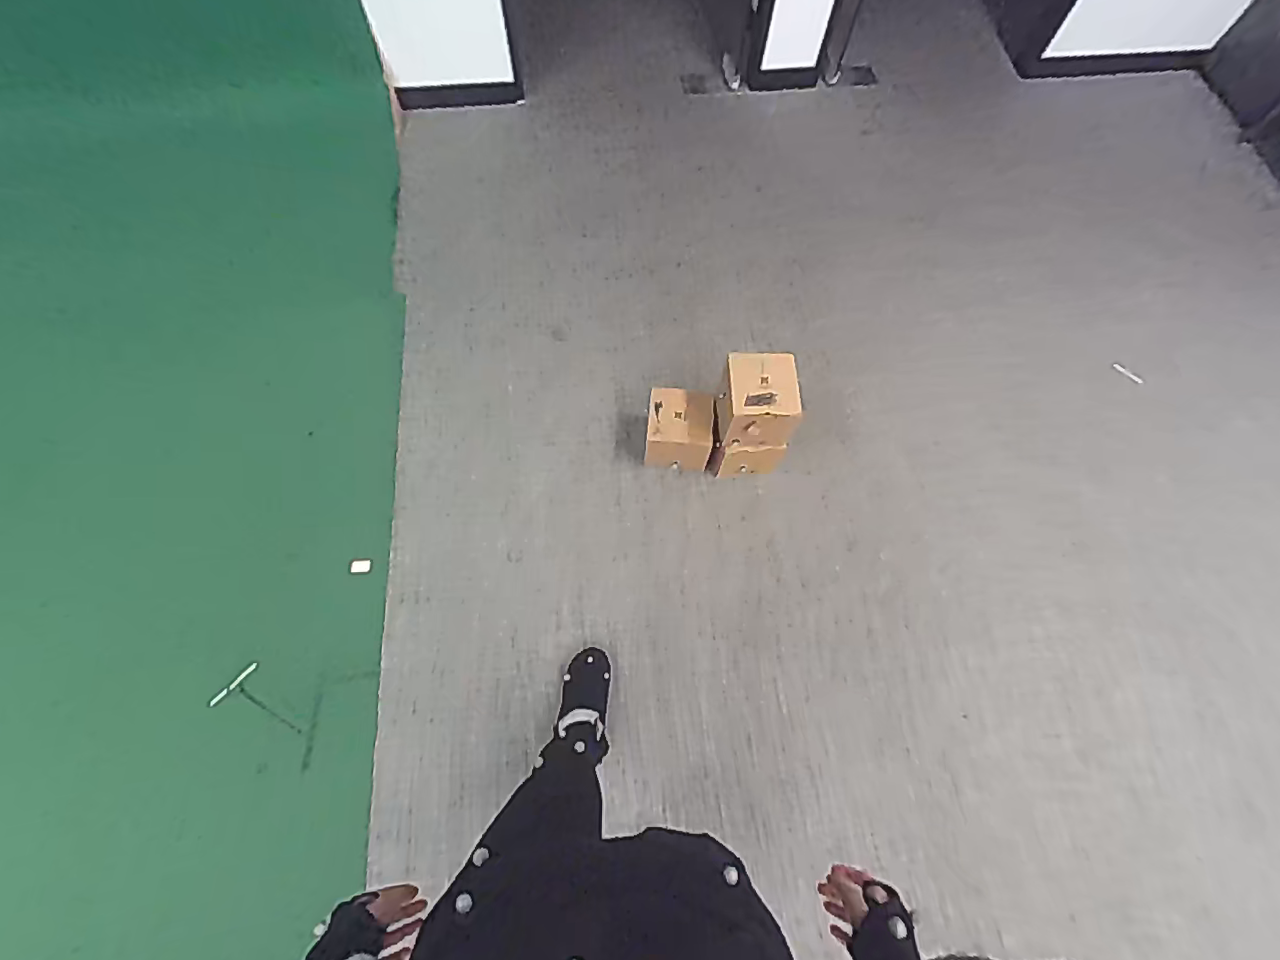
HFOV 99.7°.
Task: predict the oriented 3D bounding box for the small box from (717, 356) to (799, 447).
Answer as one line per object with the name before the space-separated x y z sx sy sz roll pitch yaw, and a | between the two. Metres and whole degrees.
small box | 0.291 -0.194 1.366 0.168 0.176 0.179 0 68 -2

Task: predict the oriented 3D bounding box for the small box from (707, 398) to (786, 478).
small box | 0.289 -0.121 1.514 0.168 0.176 0.179 -5 68 -4
